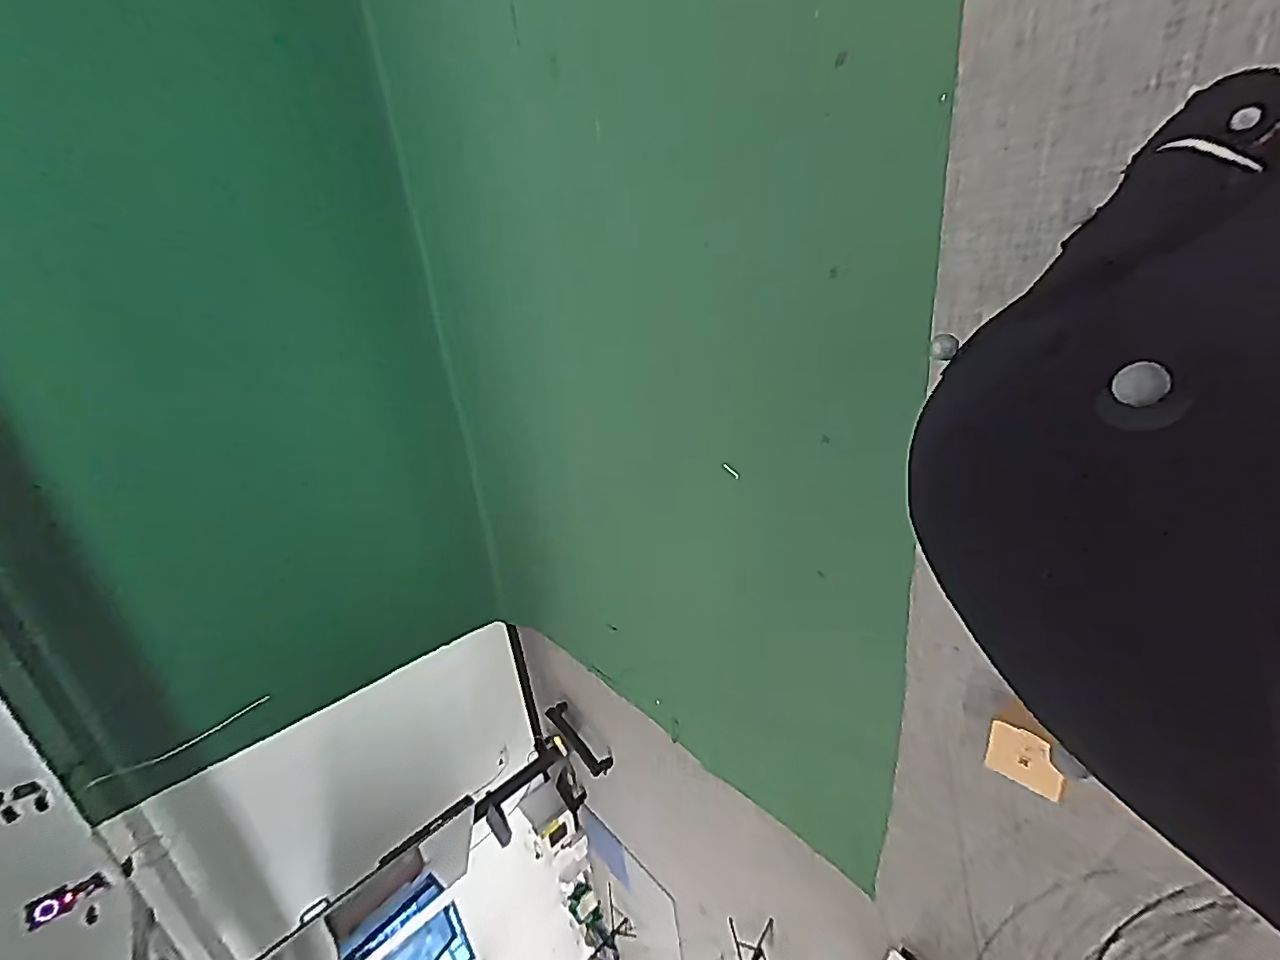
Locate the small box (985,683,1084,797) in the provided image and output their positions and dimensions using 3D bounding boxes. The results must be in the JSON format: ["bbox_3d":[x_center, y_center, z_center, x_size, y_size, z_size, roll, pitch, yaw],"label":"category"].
[{"bbox_3d":[1.054,0.685,1.444,0.168,0.176,0.179,19,122,45],"label":"small box"}]
